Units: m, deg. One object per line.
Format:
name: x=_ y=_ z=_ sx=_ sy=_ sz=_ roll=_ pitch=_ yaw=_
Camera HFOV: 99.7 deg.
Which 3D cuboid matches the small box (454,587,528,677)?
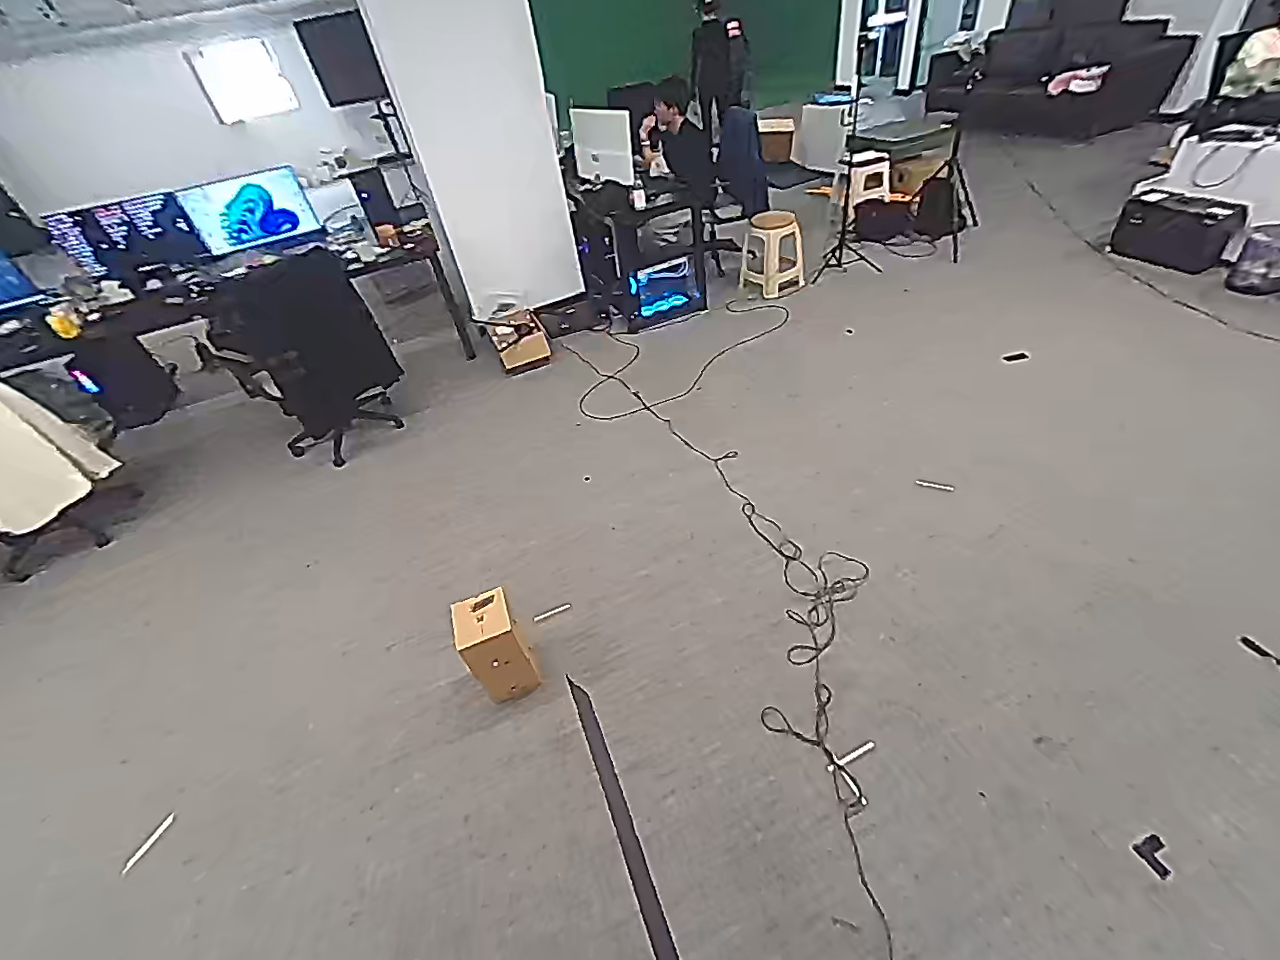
small box: x=-0.462 y=0.472 z=1.677 sx=0.168 sy=0.176 sz=0.179 roll=-20 pitch=43 yaw=-10
